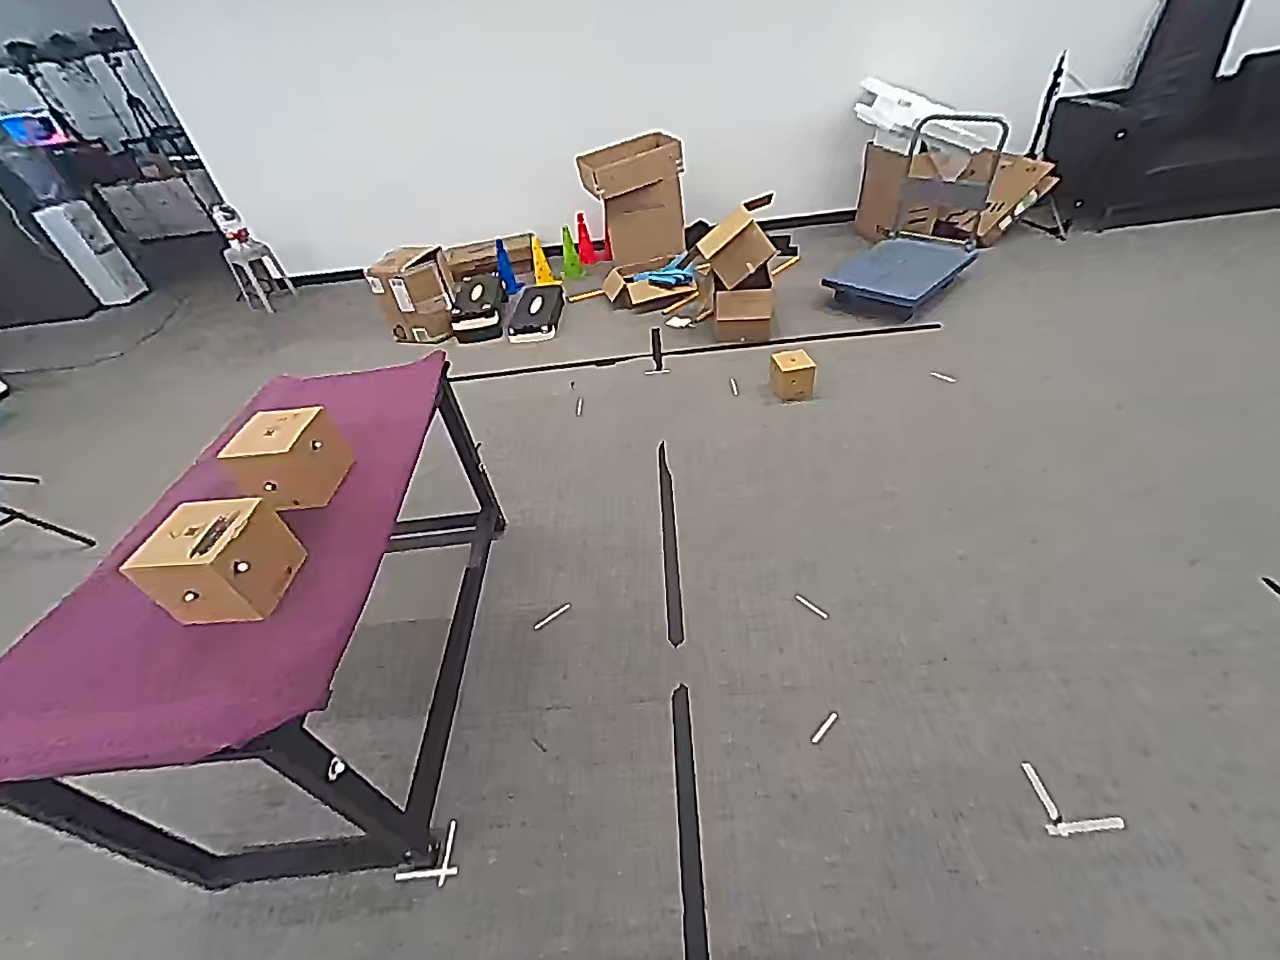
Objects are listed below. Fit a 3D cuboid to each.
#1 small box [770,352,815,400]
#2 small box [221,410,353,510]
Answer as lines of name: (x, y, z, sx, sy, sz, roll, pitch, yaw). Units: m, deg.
small box: (0.747, -0.507, 2.667, 0.168, 0.176, 0.179, -10, 40, -2)
small box: (-0.808, -0.041, 1.264, 0.168, 0.176, 0.179, -4, 41, 4)
